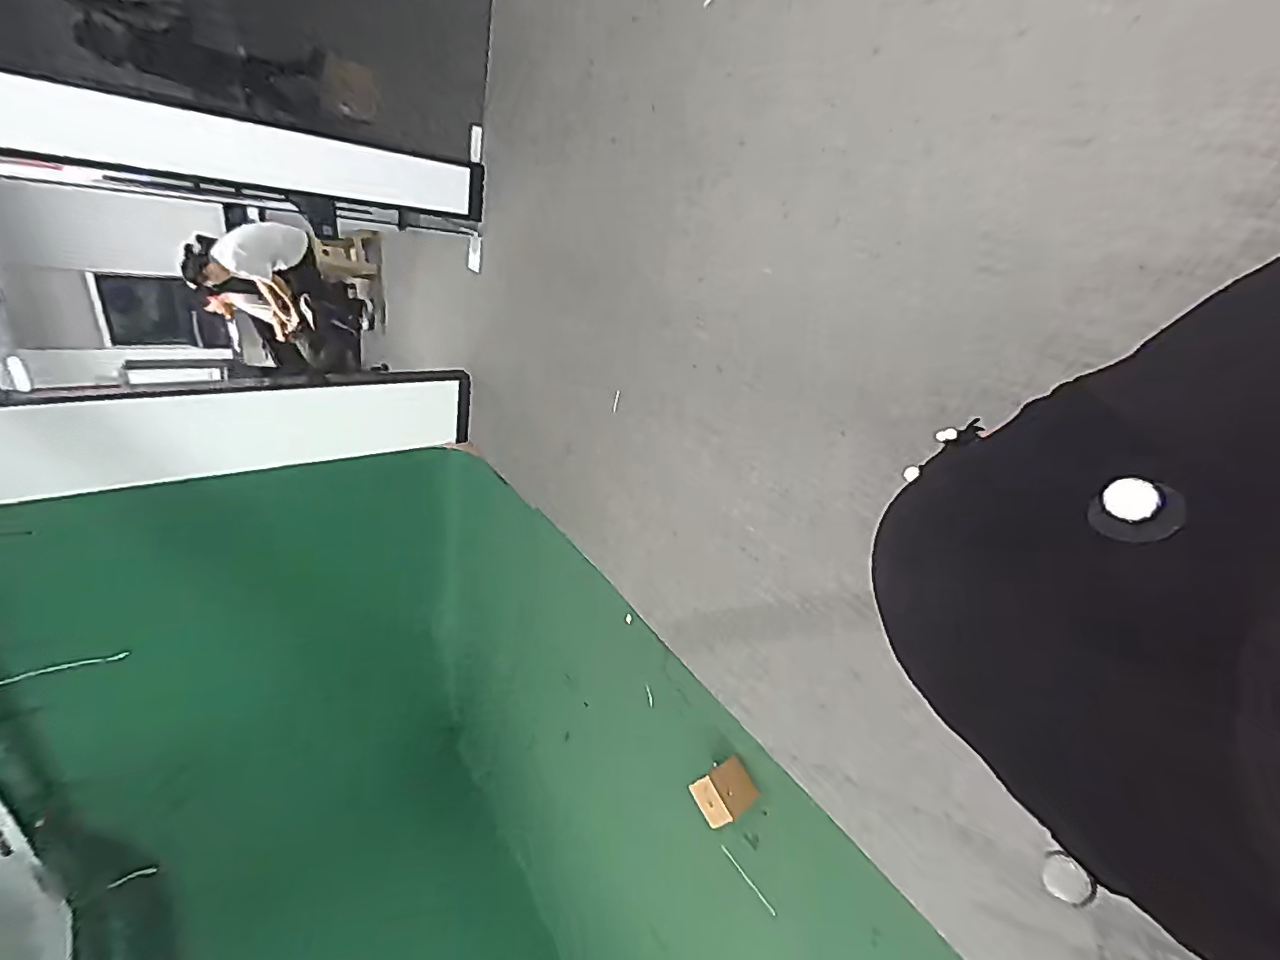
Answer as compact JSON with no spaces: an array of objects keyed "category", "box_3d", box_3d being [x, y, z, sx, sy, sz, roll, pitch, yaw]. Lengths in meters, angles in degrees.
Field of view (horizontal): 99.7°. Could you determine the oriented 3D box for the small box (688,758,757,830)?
[{"category":"small box","box_3d":[0.330,1.244,2.149,0.179,0.176,0.168,56,135,25]}]
